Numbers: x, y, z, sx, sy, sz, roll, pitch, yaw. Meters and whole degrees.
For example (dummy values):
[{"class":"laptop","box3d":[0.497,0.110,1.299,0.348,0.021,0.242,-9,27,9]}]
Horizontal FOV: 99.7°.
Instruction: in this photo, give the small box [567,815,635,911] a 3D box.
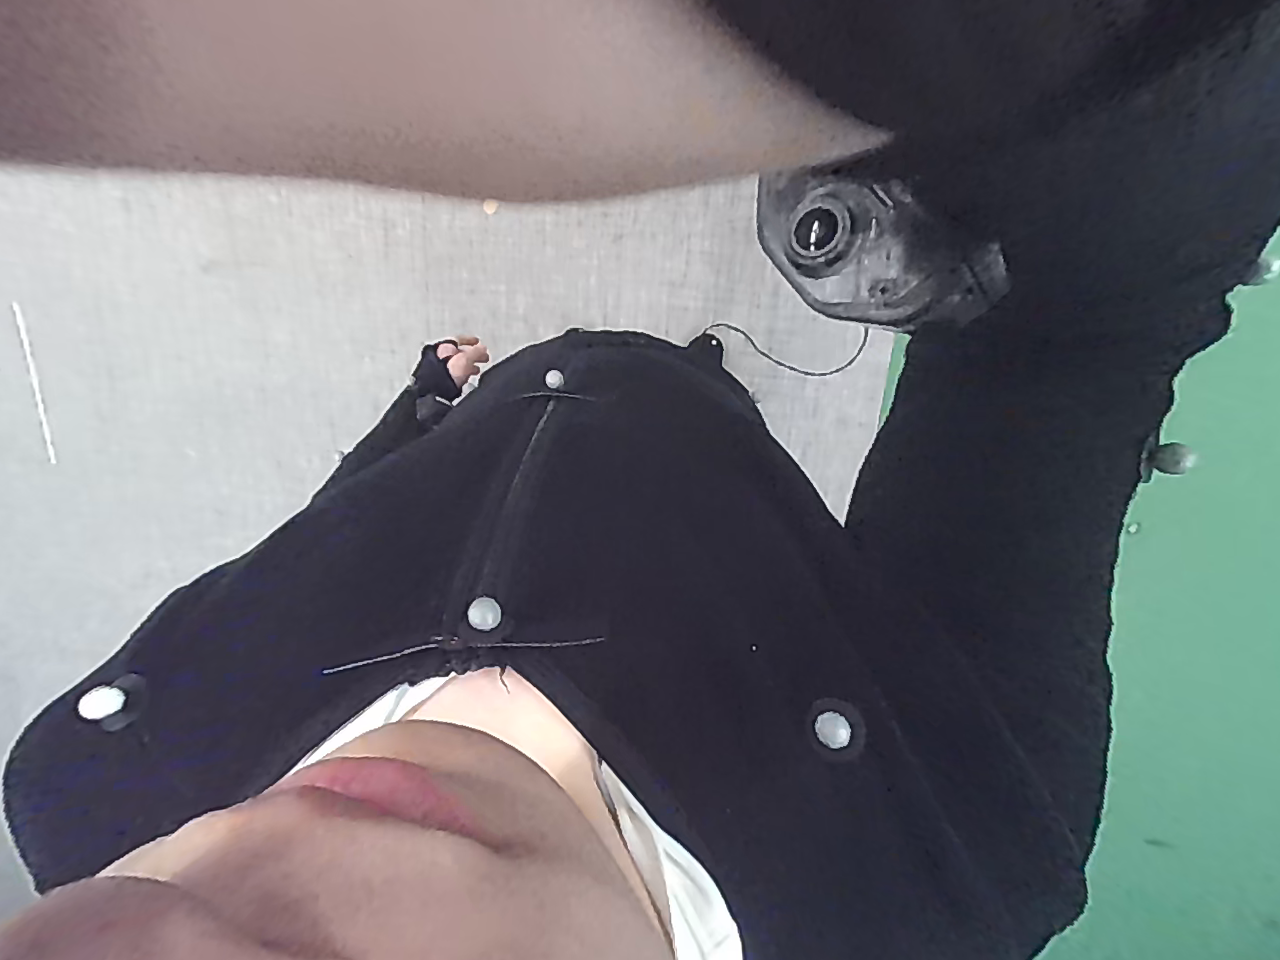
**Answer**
[{"class":"small box","box3d":[-0.118,1.186,1.686,0.179,0.176,0.168,12,105,-2]}]

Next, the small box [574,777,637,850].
[{"class":"small box","box3d":[-0.114,1.152,1.847,0.179,0.176,0.168,12,105,-2]}]

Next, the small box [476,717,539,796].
[{"class":"small box","box3d":[-0.437,0.913,1.793,0.179,0.176,0.168,5,104,-1]}]
